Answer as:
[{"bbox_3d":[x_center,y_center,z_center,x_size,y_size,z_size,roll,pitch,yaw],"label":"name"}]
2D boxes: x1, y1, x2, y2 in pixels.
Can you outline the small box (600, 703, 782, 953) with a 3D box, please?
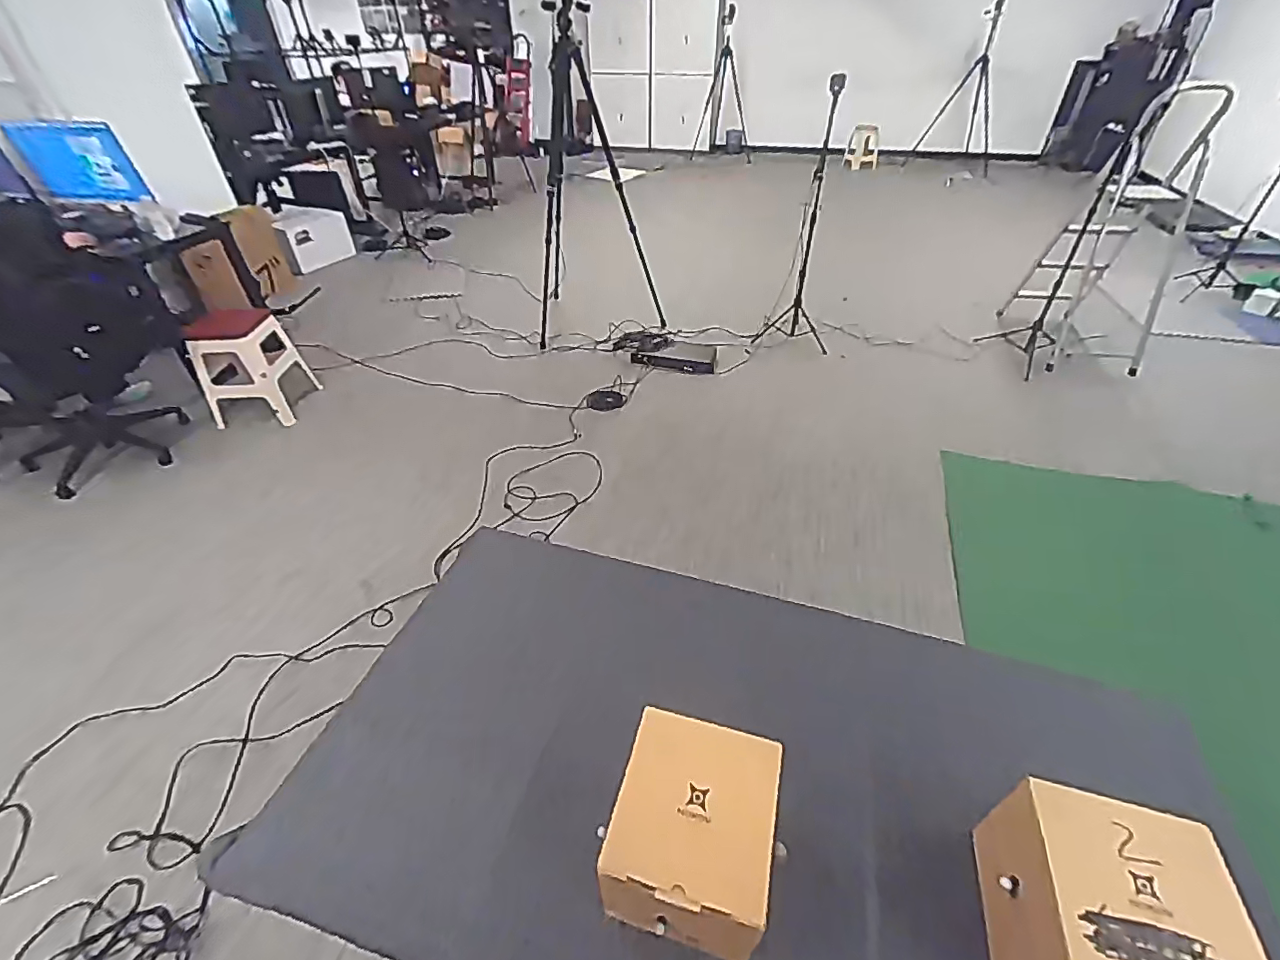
[{"bbox_3d":[0.059,0.398,0.625,0.168,0.176,0.179,11,42,12],"label":"small box"}]
